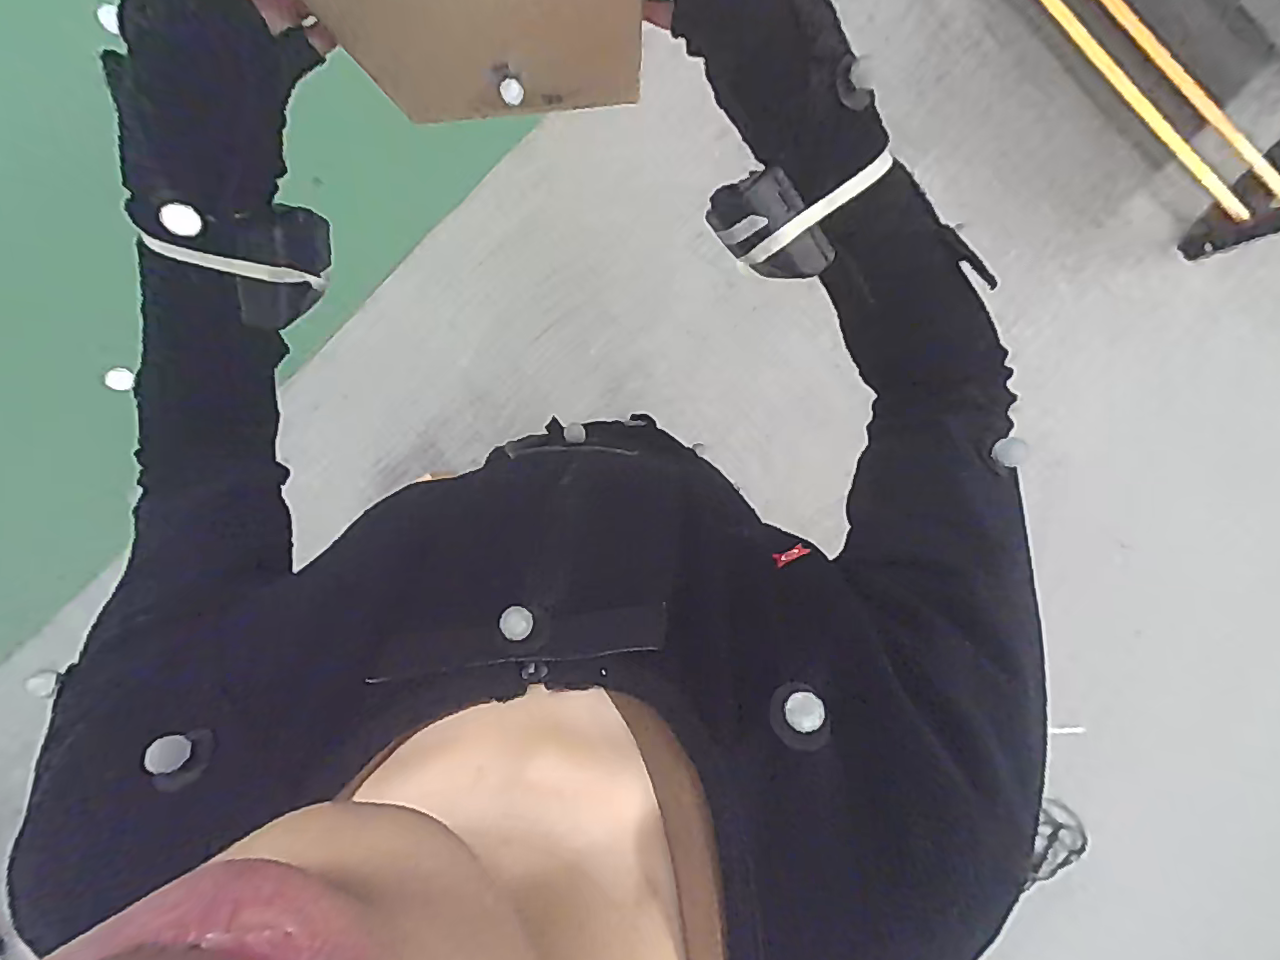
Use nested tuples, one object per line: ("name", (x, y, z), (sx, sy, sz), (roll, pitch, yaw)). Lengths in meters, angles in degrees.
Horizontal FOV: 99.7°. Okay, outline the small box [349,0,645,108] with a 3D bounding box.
("small box", (-0.084, -0.337, 0.286), (0.168, 0.176, 0.179), (-4, 101, 1))
